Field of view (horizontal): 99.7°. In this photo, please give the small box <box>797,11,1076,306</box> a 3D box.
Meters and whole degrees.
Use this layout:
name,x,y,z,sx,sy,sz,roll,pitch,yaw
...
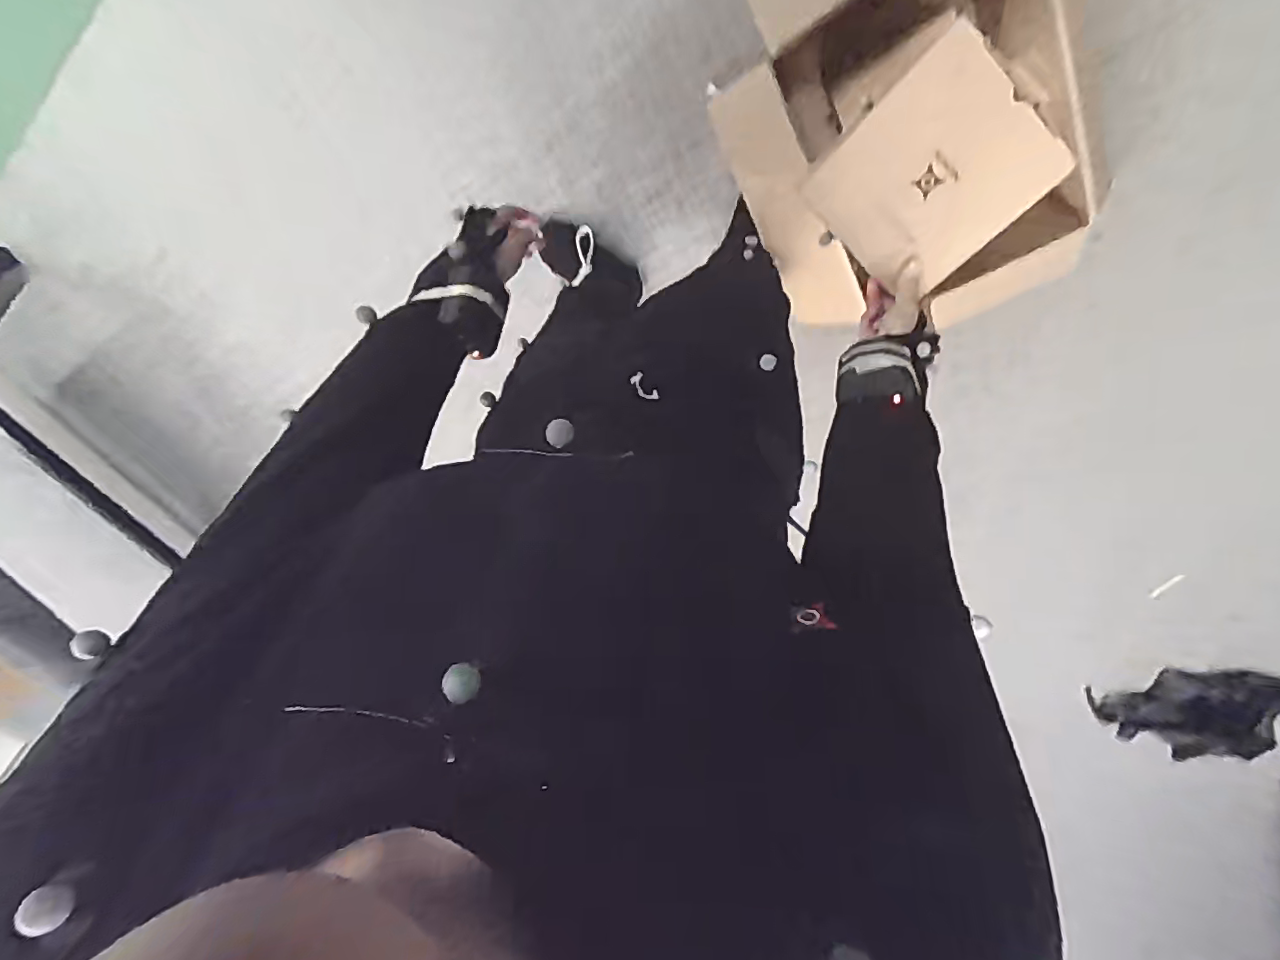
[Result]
name,x,y,z,sx,sy,sz,roll,pitch,yaw
small box,0.280,-0.317,0.560,0.168,0.176,0.179,41,120,-10
